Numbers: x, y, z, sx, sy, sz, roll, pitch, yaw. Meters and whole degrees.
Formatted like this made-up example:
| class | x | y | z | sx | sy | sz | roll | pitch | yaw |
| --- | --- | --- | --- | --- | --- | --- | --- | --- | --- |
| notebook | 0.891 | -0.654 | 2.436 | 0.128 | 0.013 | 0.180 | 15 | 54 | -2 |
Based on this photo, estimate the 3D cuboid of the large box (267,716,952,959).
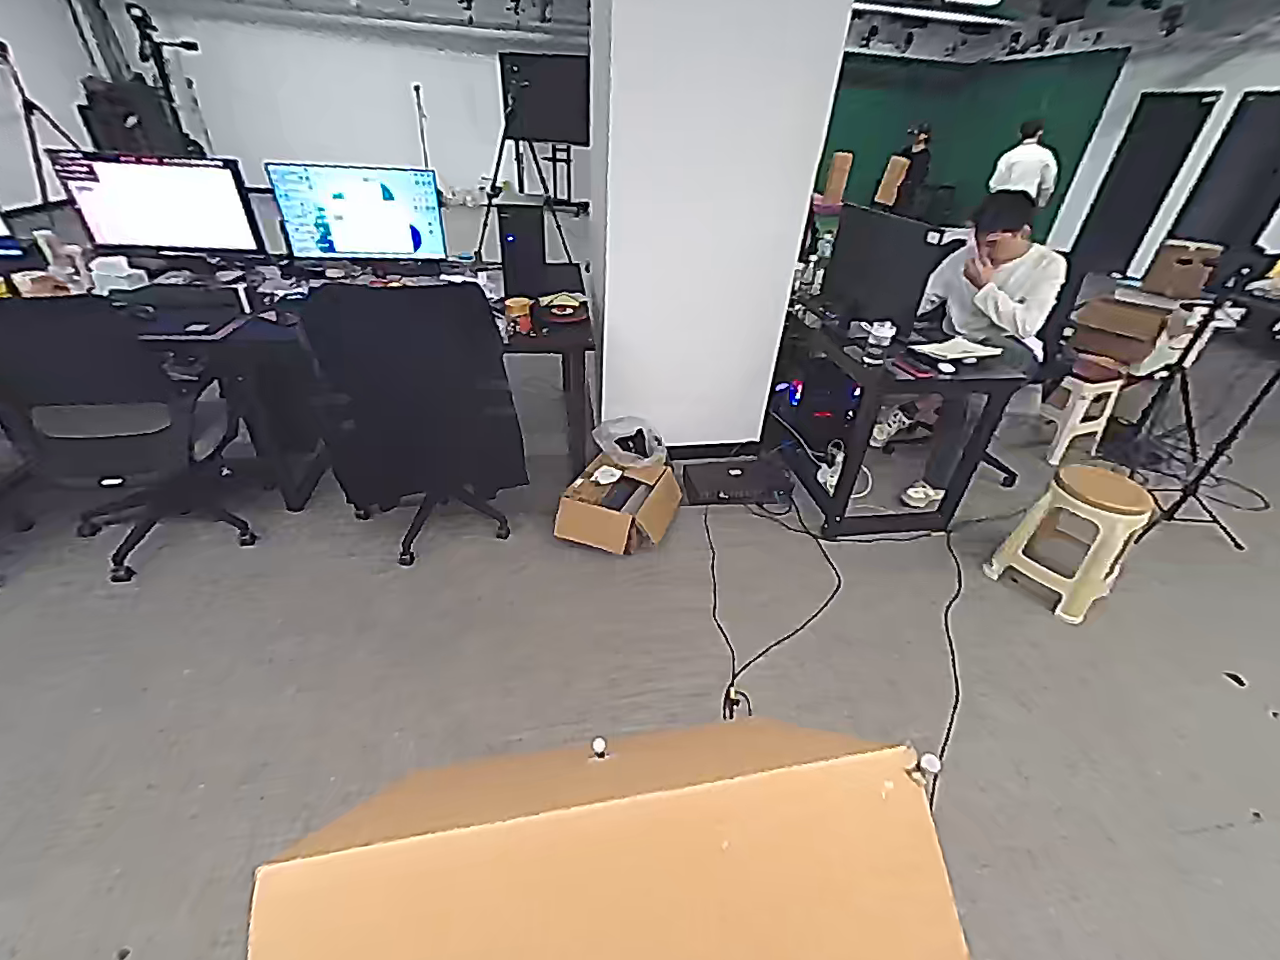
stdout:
| class | x | y | z | sx | sy | sz | roll | pitch | yaw |
| --- | --- | --- | --- | --- | --- | --- | --- | --- | --- |
| large box | -0.016 | 0.399 | 0.437 | 0.408 | 0.320 | 0.320 | -6 | 73 | -11 |
